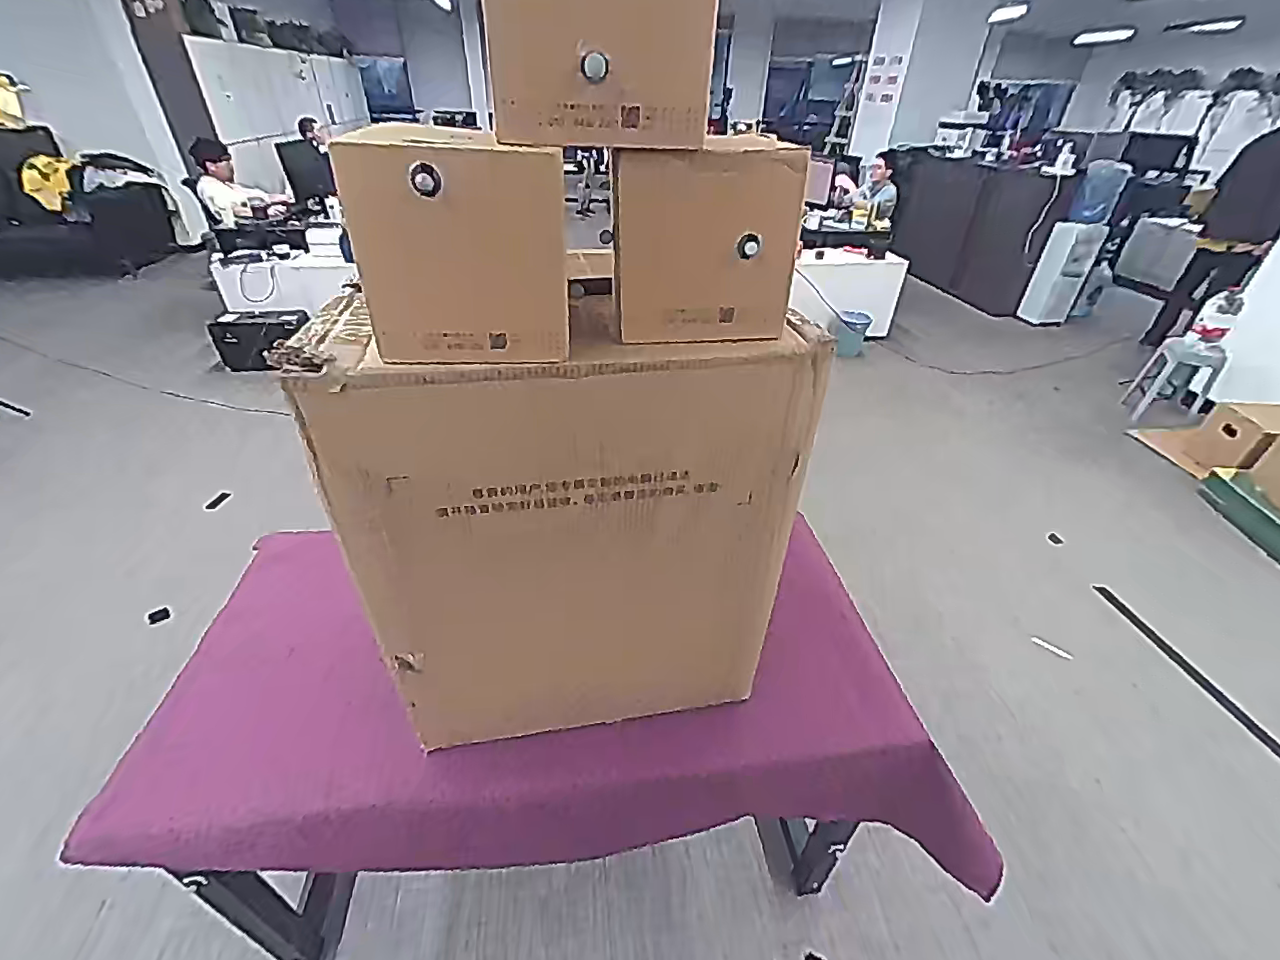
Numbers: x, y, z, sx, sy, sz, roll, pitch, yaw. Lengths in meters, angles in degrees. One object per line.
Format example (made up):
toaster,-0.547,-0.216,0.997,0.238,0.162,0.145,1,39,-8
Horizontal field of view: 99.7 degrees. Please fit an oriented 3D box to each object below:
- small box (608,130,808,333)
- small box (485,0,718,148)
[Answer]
small box,0.054,-0.257,0.557,0.168,0.176,0.179,-3,34,-5
small box,-0.035,-0.380,0.443,0.168,0.176,0.179,-3,36,-7
